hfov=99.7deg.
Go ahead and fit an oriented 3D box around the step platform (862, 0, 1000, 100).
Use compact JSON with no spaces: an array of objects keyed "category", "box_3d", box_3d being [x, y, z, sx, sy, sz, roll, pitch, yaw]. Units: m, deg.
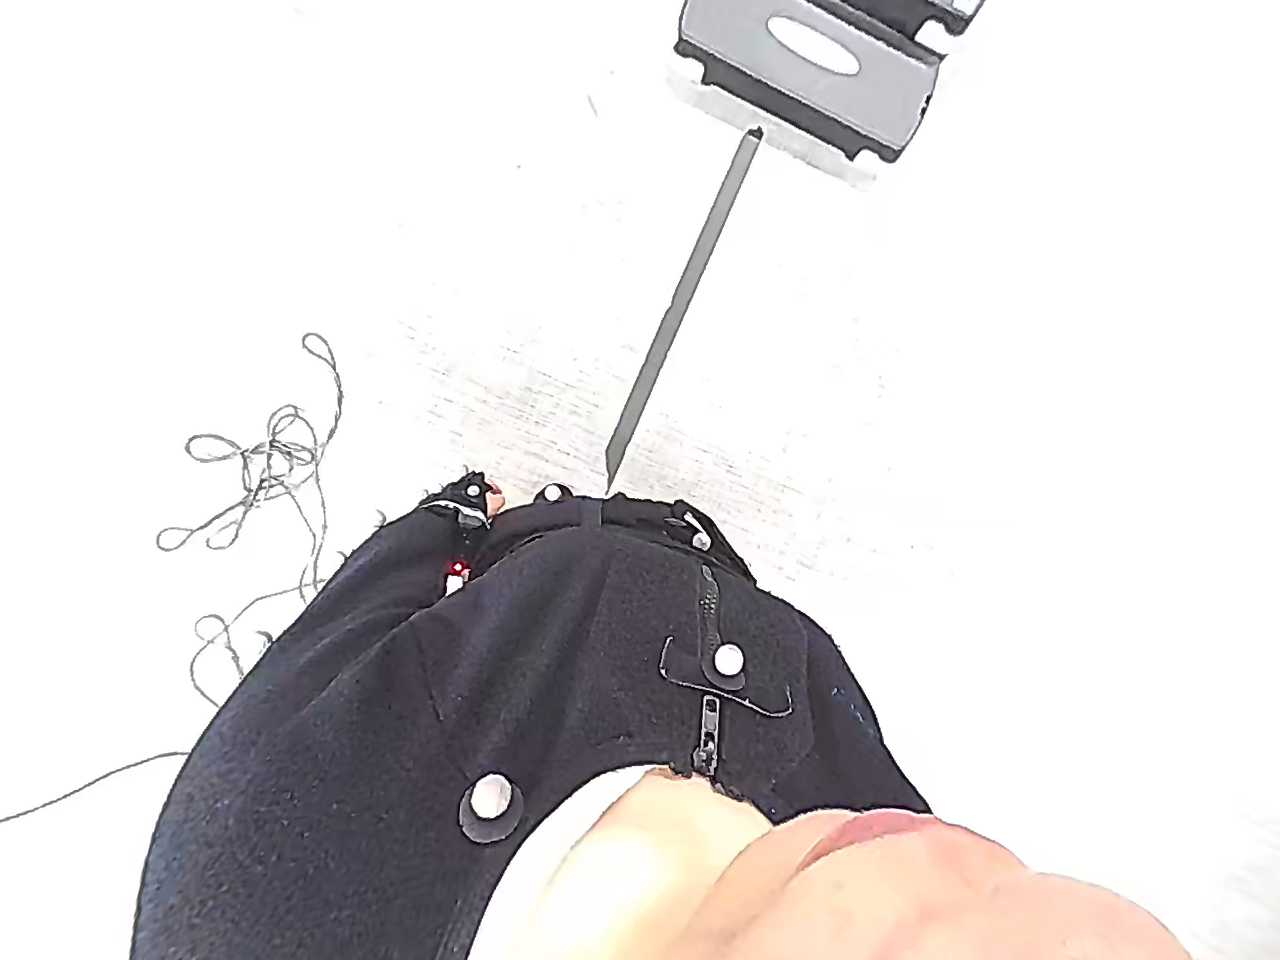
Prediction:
[{"category":"step platform","box_3d":[0.568,-1.303,1.373,0.684,0.204,0.286,27,87,-5]}]
